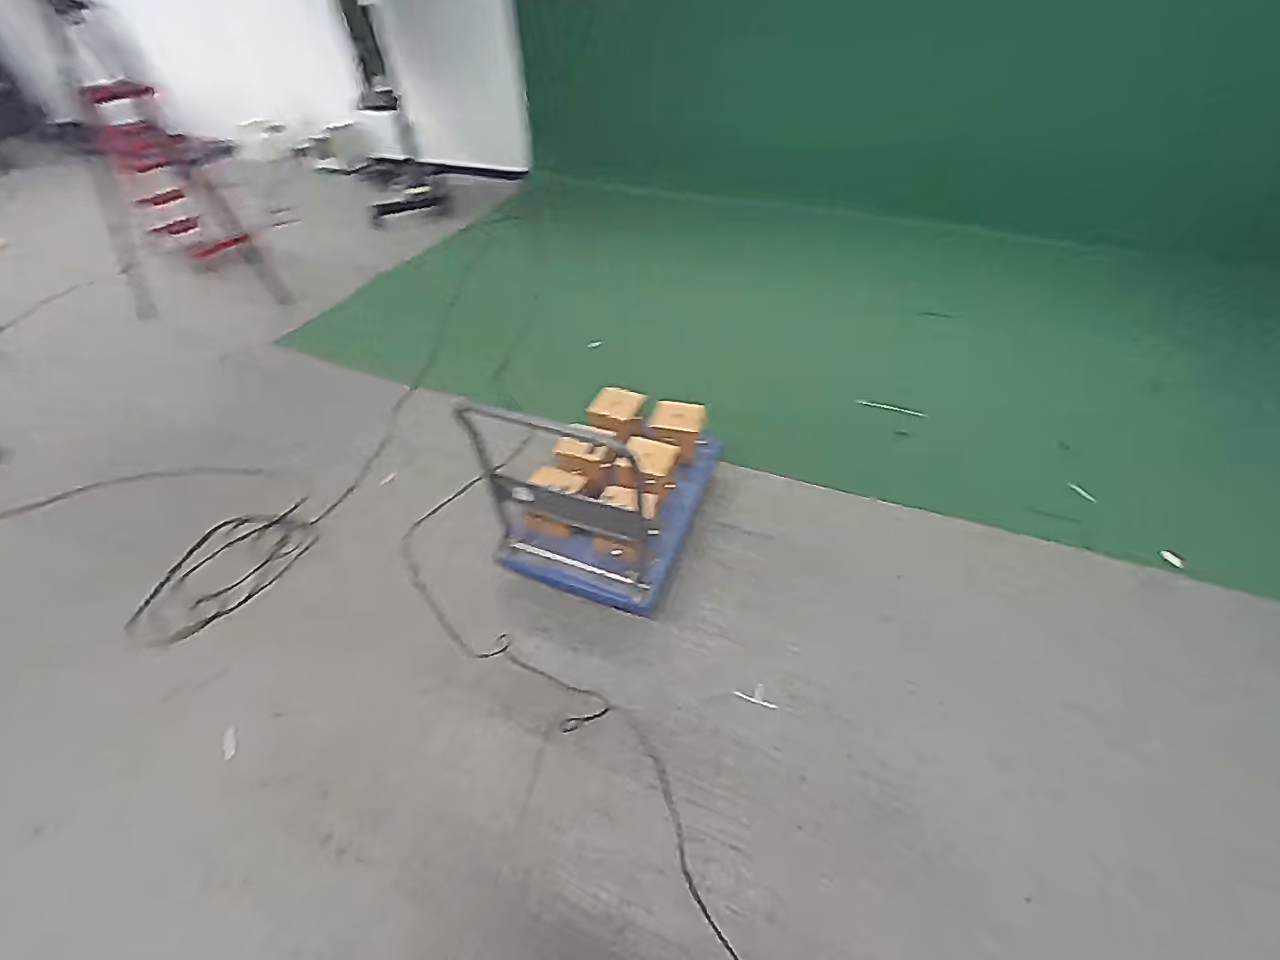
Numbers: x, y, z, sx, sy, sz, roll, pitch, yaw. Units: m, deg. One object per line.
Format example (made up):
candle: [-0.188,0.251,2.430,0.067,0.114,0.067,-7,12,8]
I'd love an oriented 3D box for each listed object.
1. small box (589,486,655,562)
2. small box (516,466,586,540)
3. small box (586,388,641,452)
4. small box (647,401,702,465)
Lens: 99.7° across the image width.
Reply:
small box: [-0.056,0.150,1.806,0.179,0.176,0.168,14,47,13]
small box: [-0.301,0.085,1.875,0.179,0.176,0.168,16,48,17]
small box: [-0.102,-0.241,2.192,0.168,0.176,0.179,18,49,17]
small box: [0.134,-0.181,2.123,0.179,0.176,0.168,16,51,15]
